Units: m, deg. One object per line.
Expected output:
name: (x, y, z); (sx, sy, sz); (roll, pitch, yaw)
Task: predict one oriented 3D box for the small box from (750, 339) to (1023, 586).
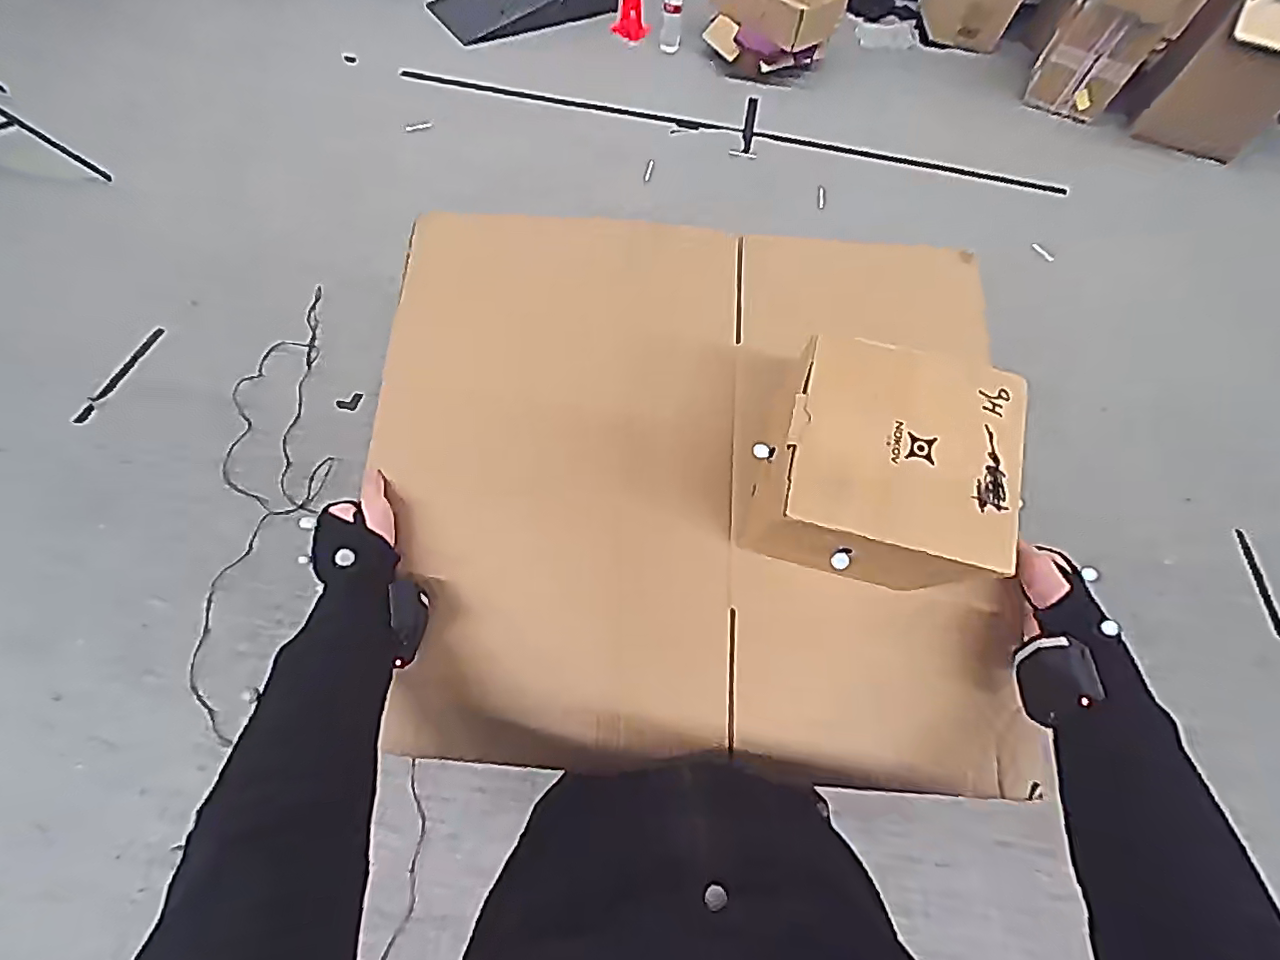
small box: (0.213, -0.003, 0.508); (0.179, 0.176, 0.168); (14, 75, 4)
